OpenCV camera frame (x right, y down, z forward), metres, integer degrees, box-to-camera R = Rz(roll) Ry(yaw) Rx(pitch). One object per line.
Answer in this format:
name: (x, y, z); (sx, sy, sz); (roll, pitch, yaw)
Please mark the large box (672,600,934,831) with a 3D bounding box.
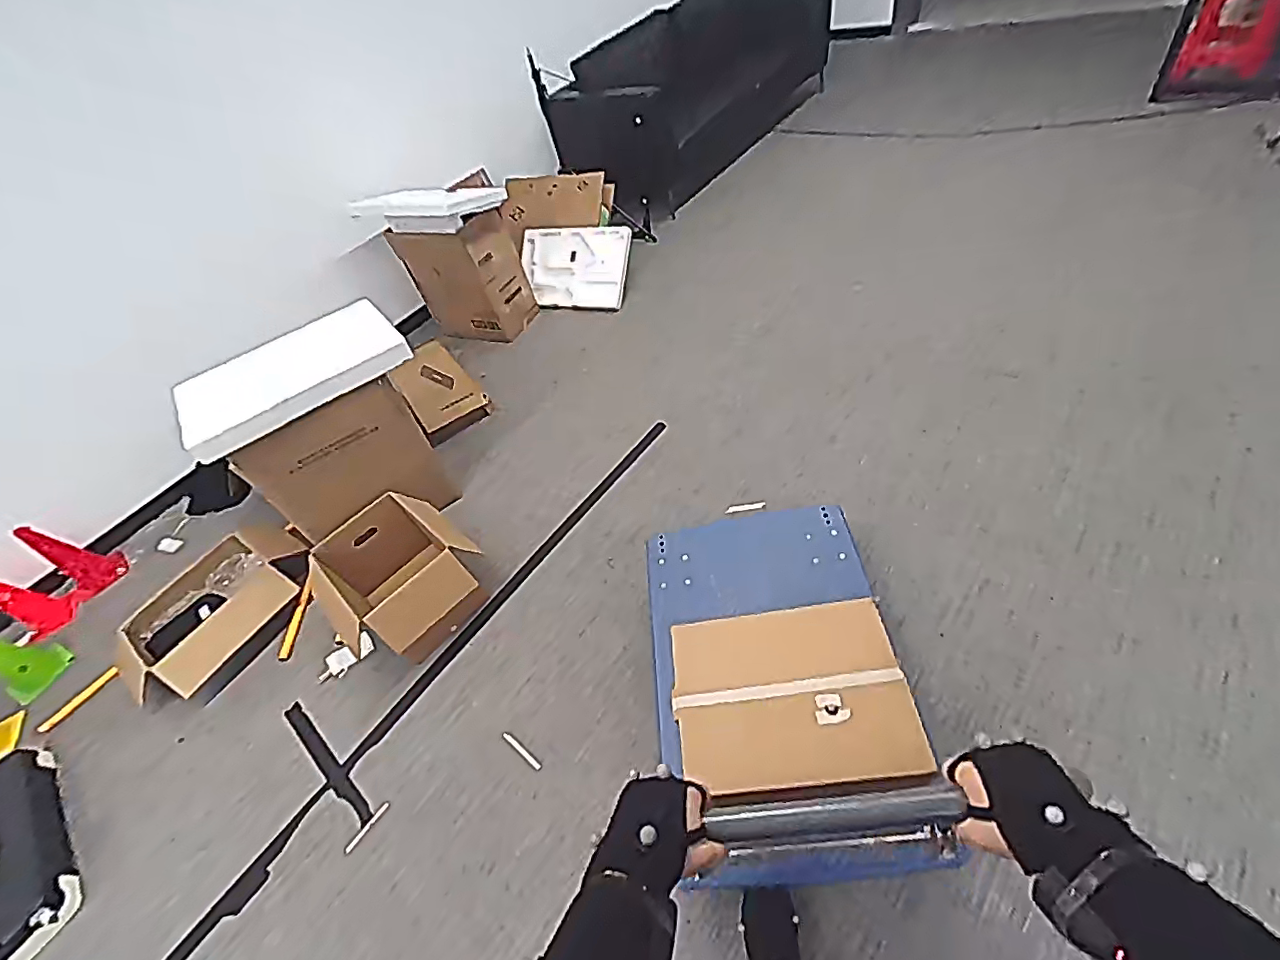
large box: (0.296, 0.481, 1.088); (0.408, 0.320, 0.320); (-10, 48, 6)
